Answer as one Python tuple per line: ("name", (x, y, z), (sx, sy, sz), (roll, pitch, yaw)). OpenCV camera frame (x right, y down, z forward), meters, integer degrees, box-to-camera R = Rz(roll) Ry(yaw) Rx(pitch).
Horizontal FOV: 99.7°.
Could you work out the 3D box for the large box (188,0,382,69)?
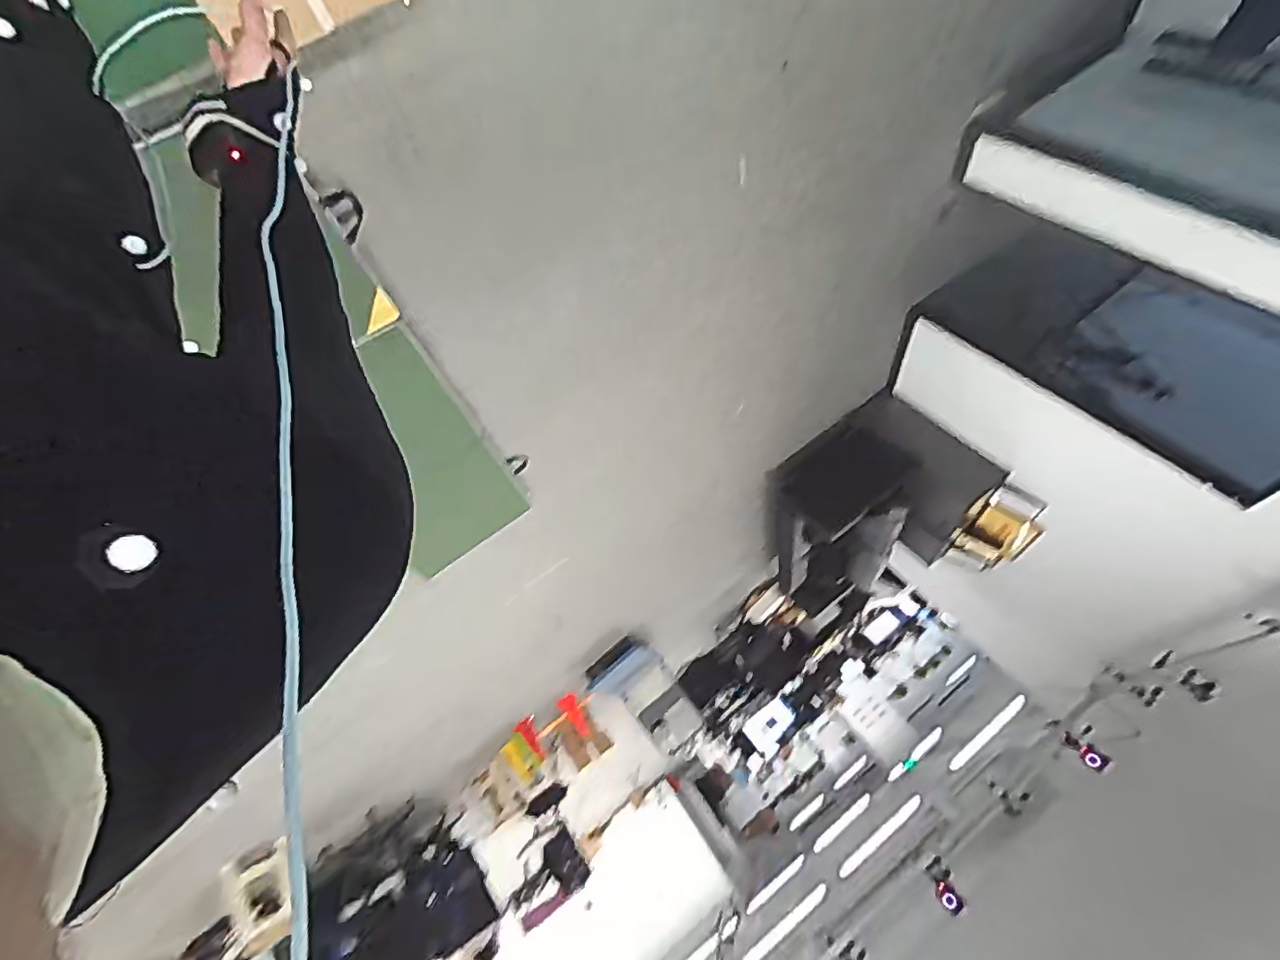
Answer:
("large box", (-0.663, -0.961, 0.825), (0.320, 0.320, 0.408), (-36, 150, -9))
